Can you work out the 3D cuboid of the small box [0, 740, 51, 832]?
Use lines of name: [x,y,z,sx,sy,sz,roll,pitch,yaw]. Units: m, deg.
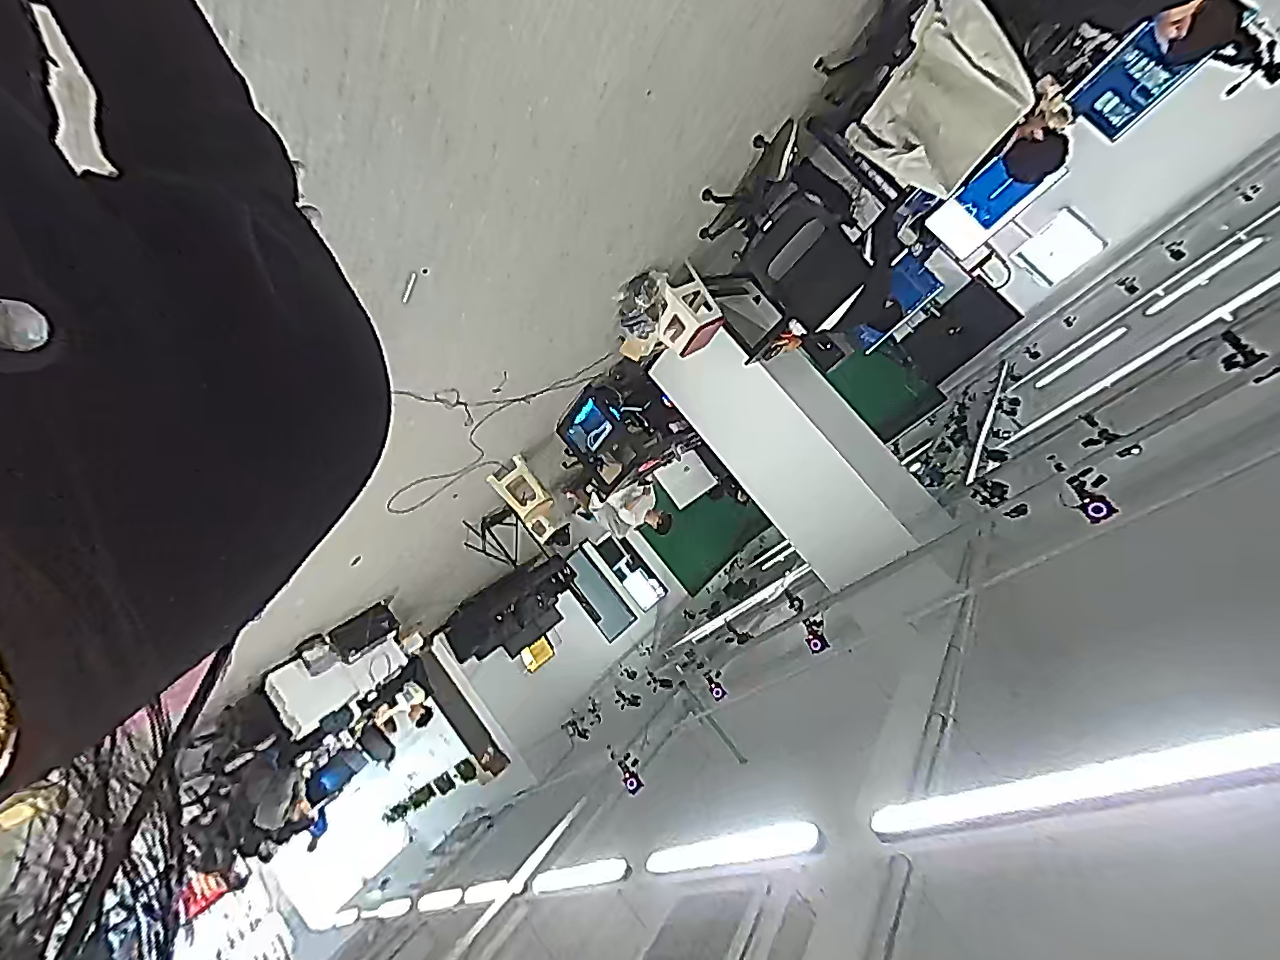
small box: [-1.624,0.783,1.347,0.179,0.176,0.168,-44,172,37]
